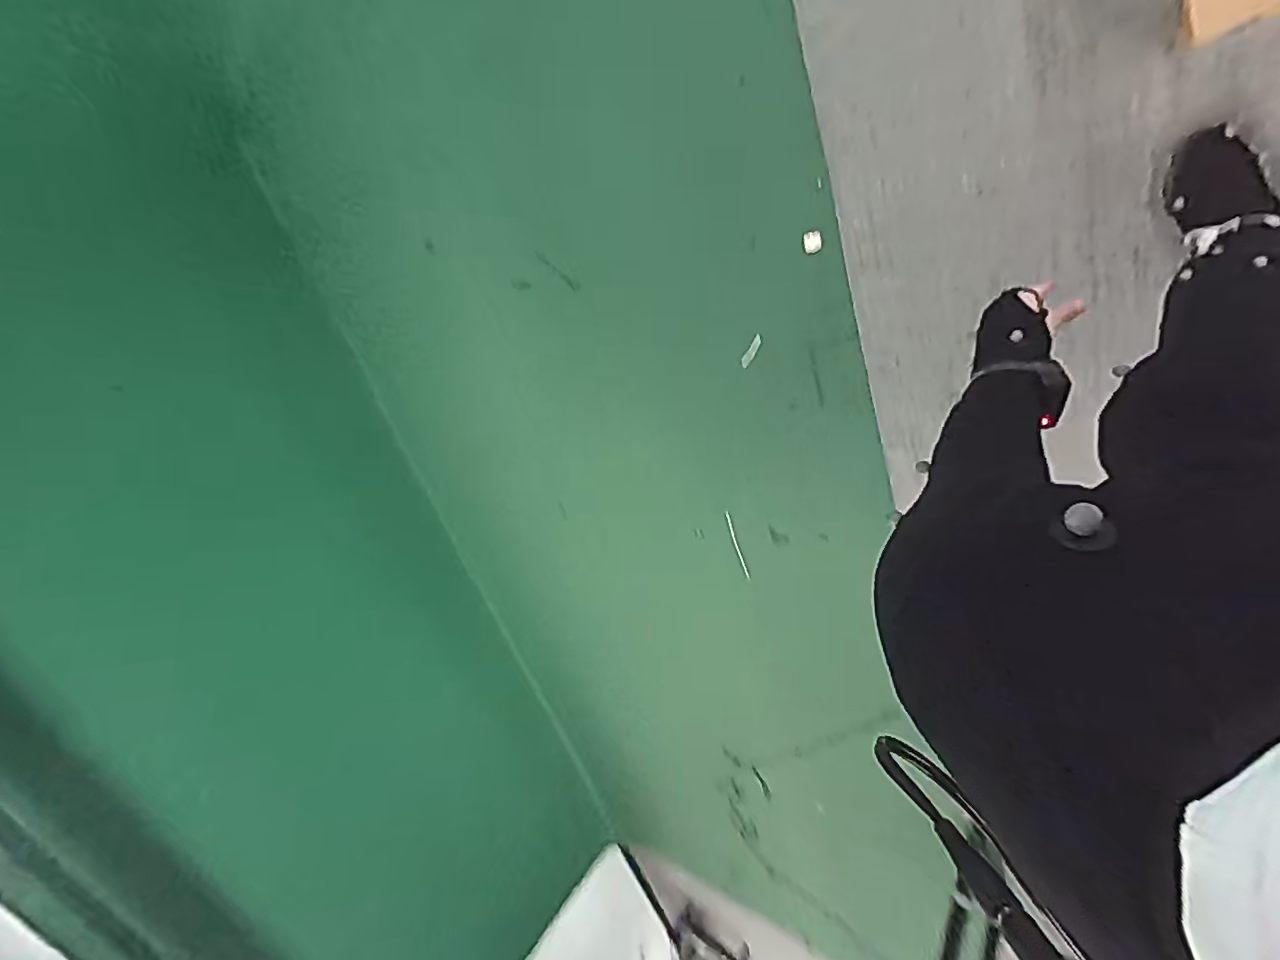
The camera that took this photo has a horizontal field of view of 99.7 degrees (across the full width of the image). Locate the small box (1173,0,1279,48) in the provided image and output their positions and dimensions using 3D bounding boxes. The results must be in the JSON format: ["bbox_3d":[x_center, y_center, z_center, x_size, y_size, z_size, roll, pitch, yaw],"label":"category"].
[{"bbox_3d":[0.811,-0.707,0.701,0.168,0.176,0.179,-8,114,45],"label":"small box"}]

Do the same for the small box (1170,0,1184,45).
[{"bbox_3d":[0.912,-0.785,0.803,0.179,0.176,0.168,-4,116,43],"label":"small box"}]
